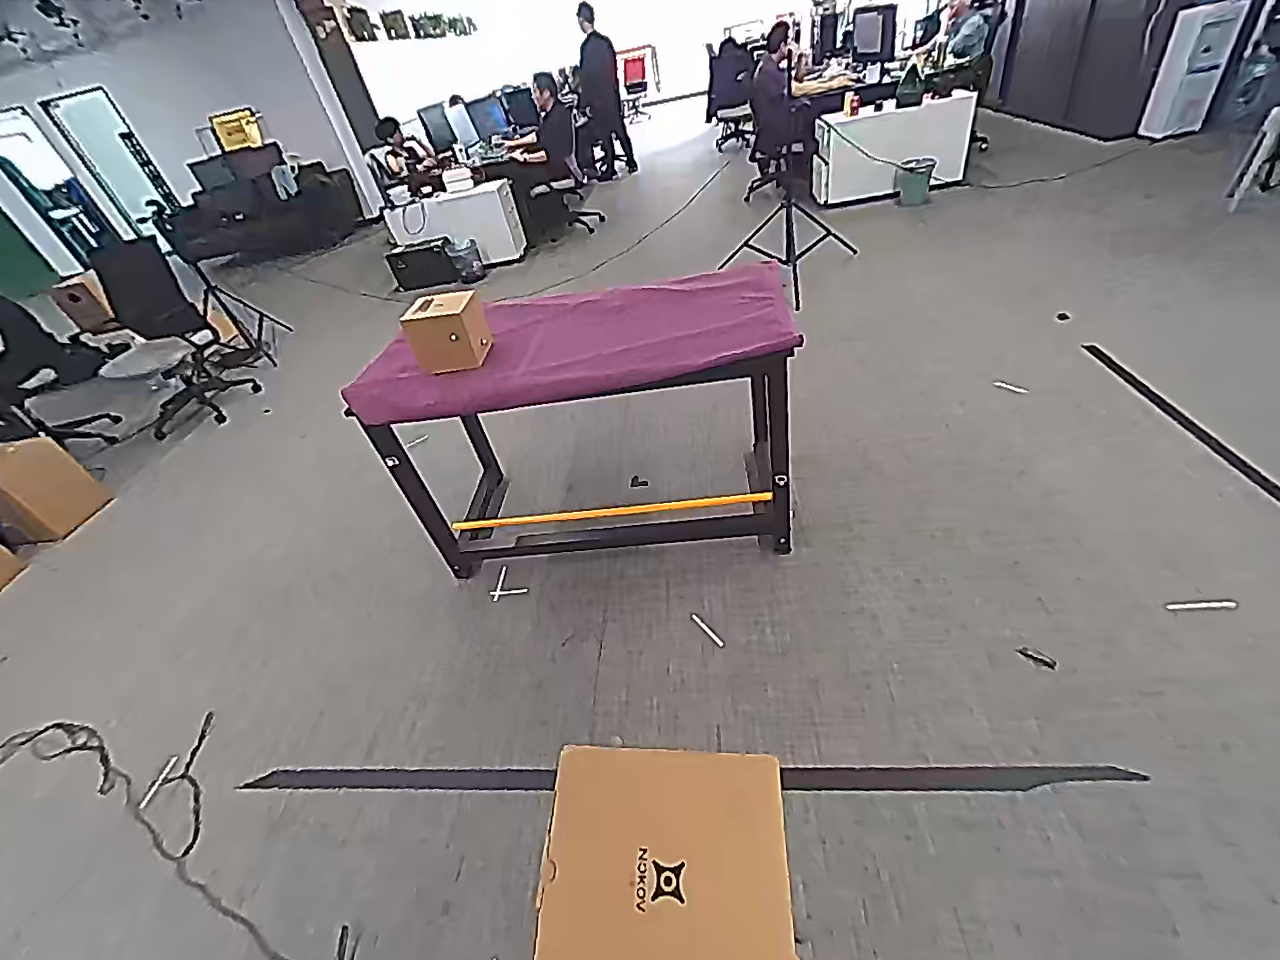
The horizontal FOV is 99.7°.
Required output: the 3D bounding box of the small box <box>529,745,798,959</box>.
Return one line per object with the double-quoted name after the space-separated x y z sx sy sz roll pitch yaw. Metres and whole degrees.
0.028 0.323 0.435 0.179 0.176 0.168 -4 51 10 "small box"
